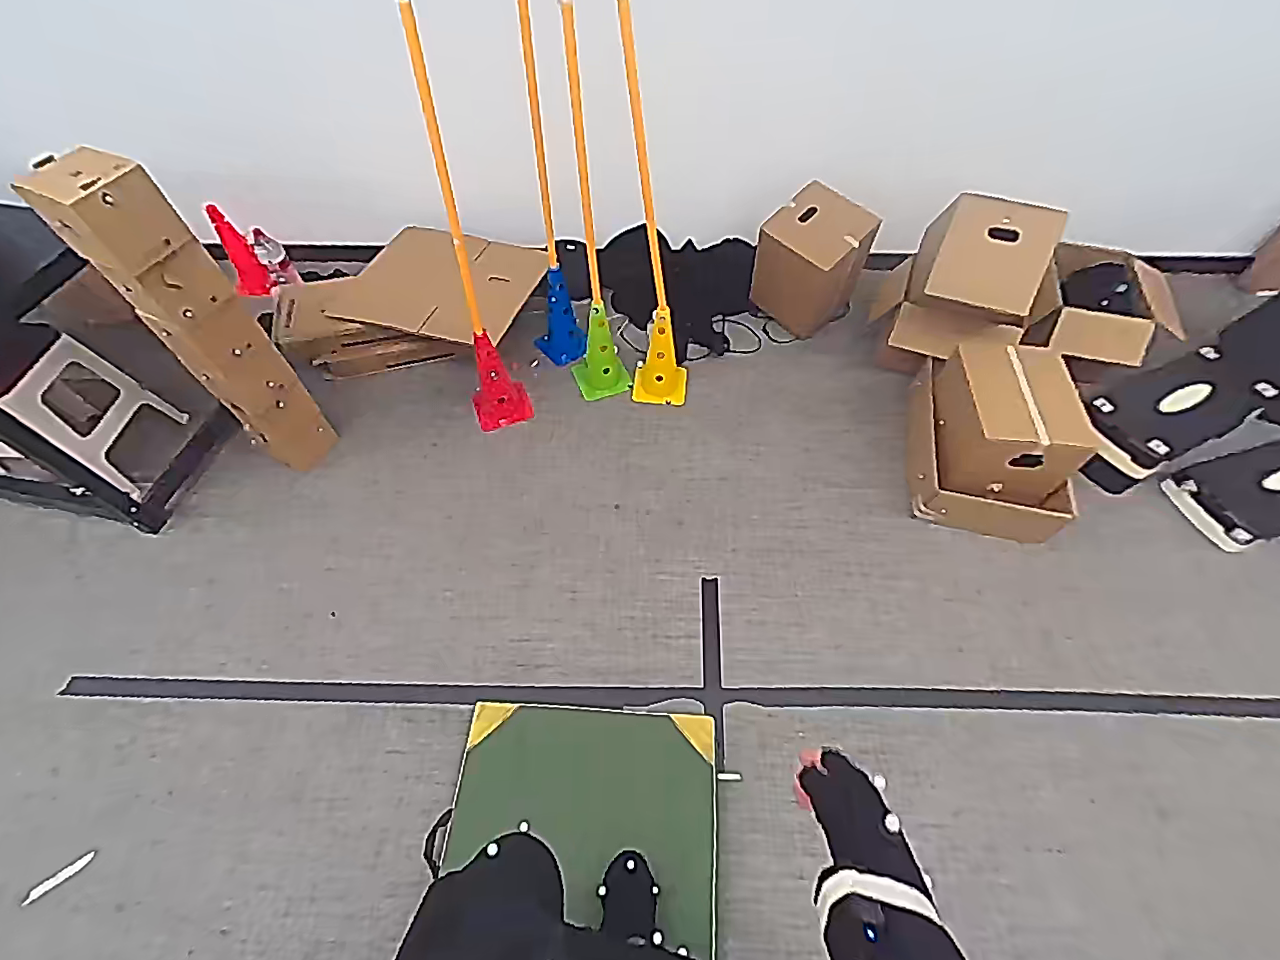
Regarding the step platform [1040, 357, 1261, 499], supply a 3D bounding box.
[{"bbox_3d":[1.791,-0.194,1.899,0.684,0.204,0.286,-23,59,-15],"label":"step platform"}]
